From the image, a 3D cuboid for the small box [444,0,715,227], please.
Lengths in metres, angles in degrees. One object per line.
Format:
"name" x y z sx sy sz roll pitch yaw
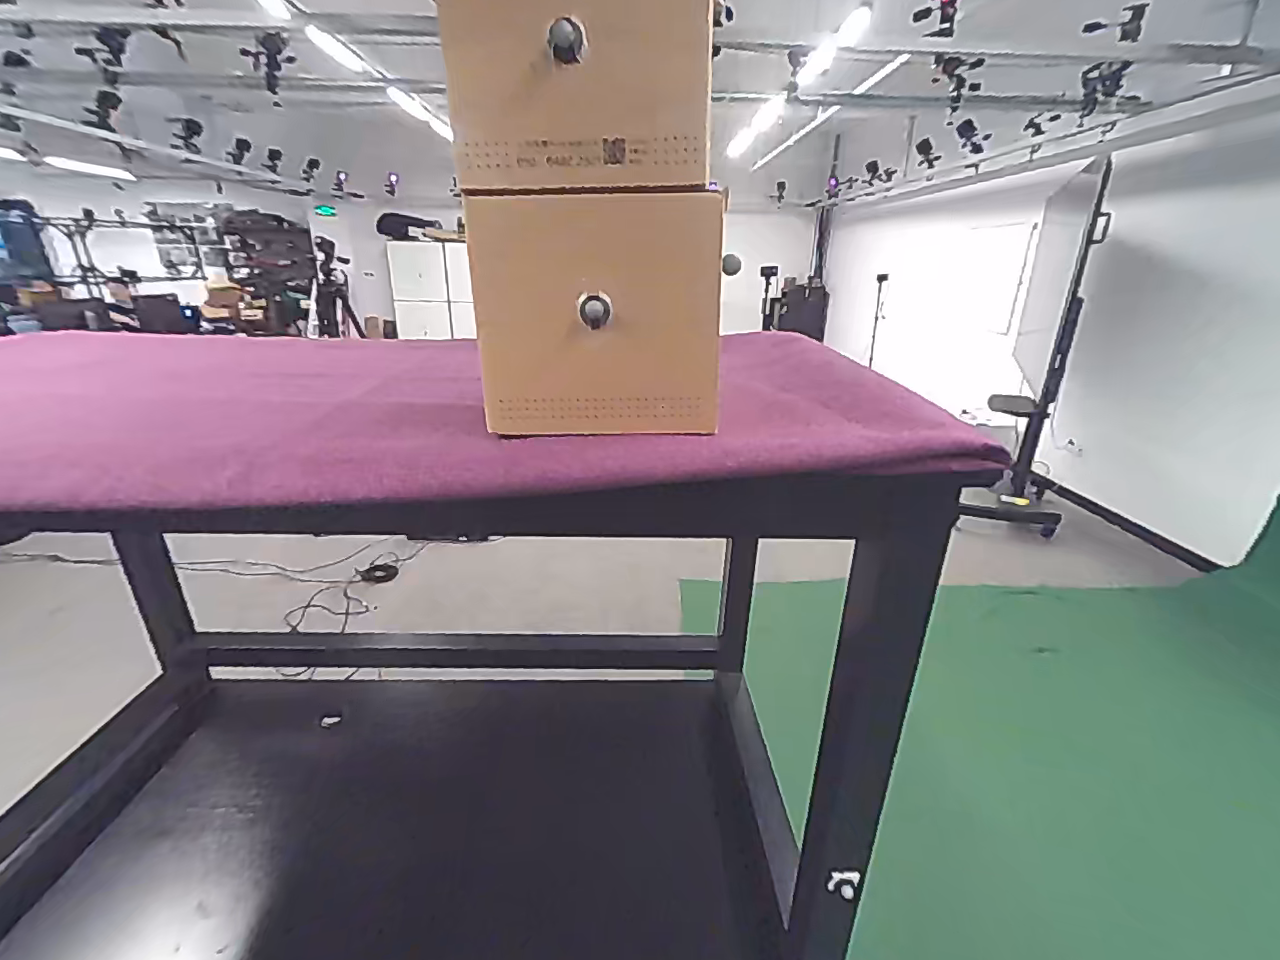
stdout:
"small box" -0.034 -0.291 0.402 0.168 0.176 0.179 0 20 1
